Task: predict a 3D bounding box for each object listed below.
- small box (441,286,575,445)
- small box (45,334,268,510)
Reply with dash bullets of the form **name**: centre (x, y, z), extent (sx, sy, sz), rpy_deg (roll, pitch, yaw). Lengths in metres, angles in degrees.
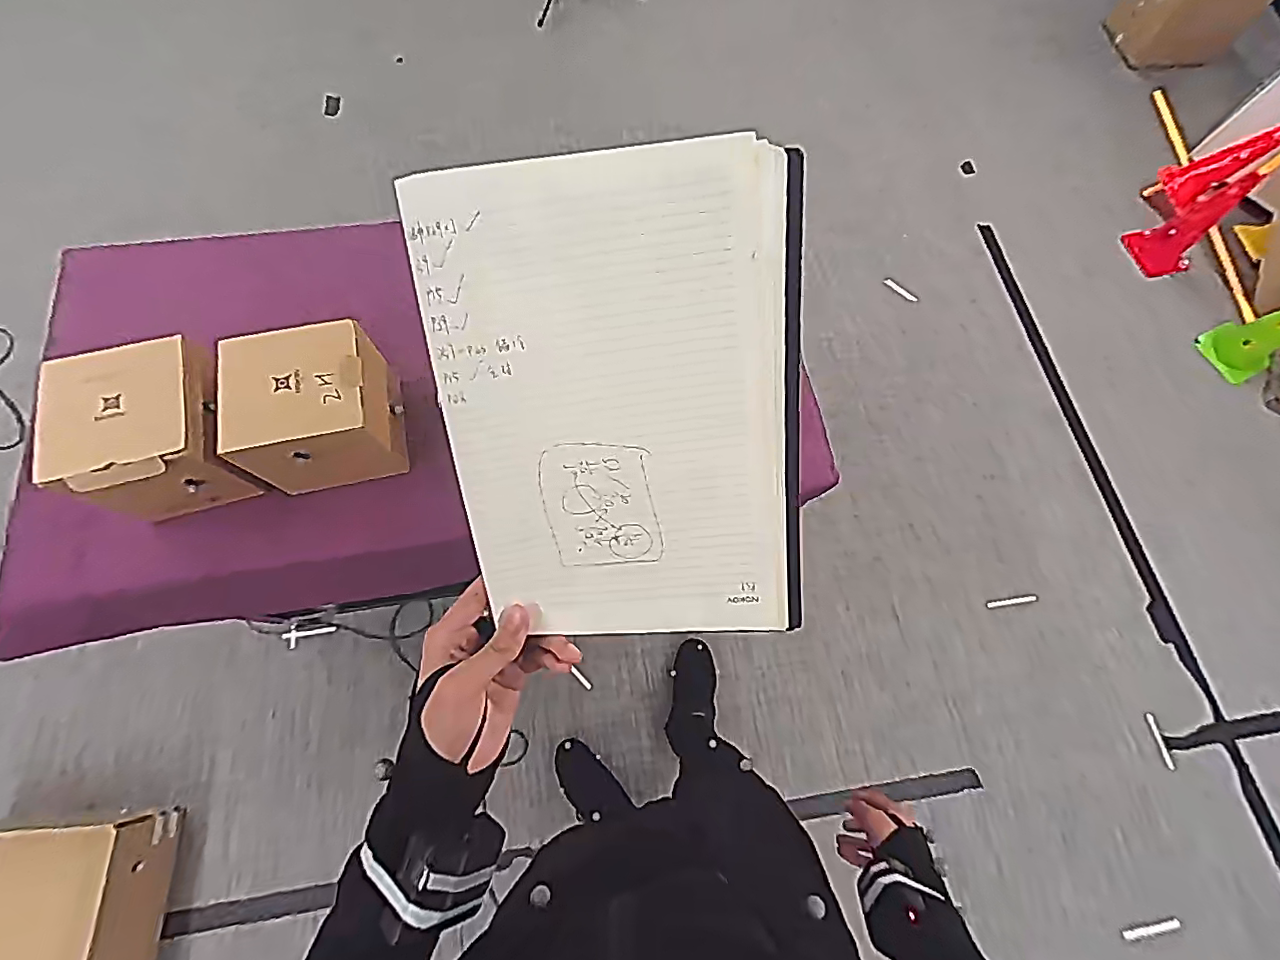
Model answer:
- **small box**: centre (-0.187, -0.159, 0.802), extent (0.168, 0.176, 0.179), rpy_deg (-4, 70, -5)
- **small box**: centre (-0.648, -0.068, 0.747), extent (0.168, 0.176, 0.179), rpy_deg (-15, 72, -9)
